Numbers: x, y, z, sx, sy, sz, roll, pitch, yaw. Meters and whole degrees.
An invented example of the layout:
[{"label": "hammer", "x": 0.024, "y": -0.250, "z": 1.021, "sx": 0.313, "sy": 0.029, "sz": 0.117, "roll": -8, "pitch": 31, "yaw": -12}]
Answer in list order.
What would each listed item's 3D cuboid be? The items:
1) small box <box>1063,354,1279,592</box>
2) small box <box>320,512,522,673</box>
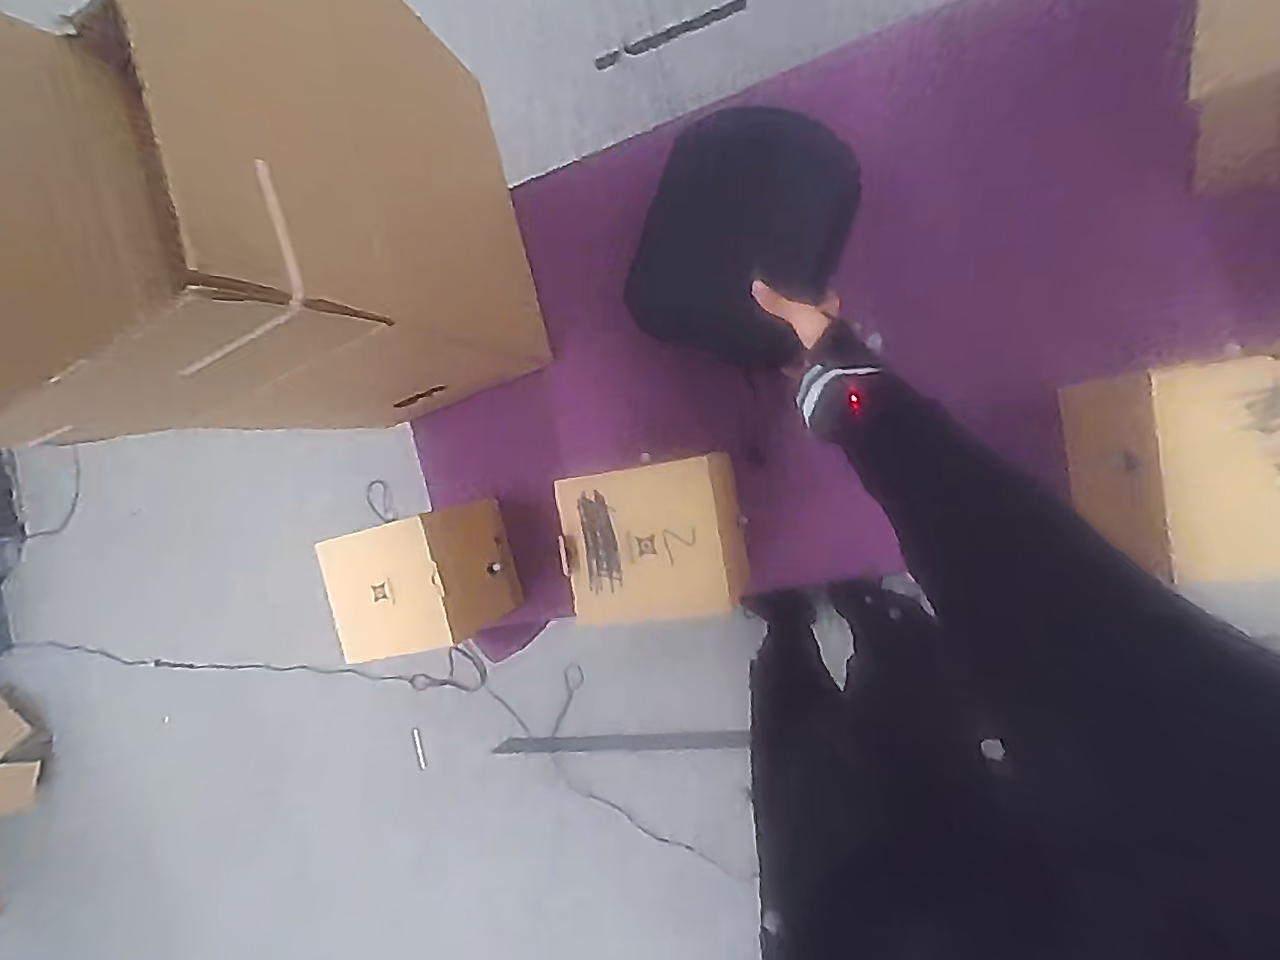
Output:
[{"label": "small box", "x": 0.511, "y": -0.013, "z": 0.478, "sx": 0.168, "sy": 0.176, "sz": 0.179, "roll": -9, "pitch": 92, "yaw": 19}, {"label": "small box", "x": -0.294, "y": 0.148, "z": 0.751, "sx": 0.179, "sy": 0.176, "sz": 0.168, "roll": -16, "pitch": 89, "yaw": 17}]
